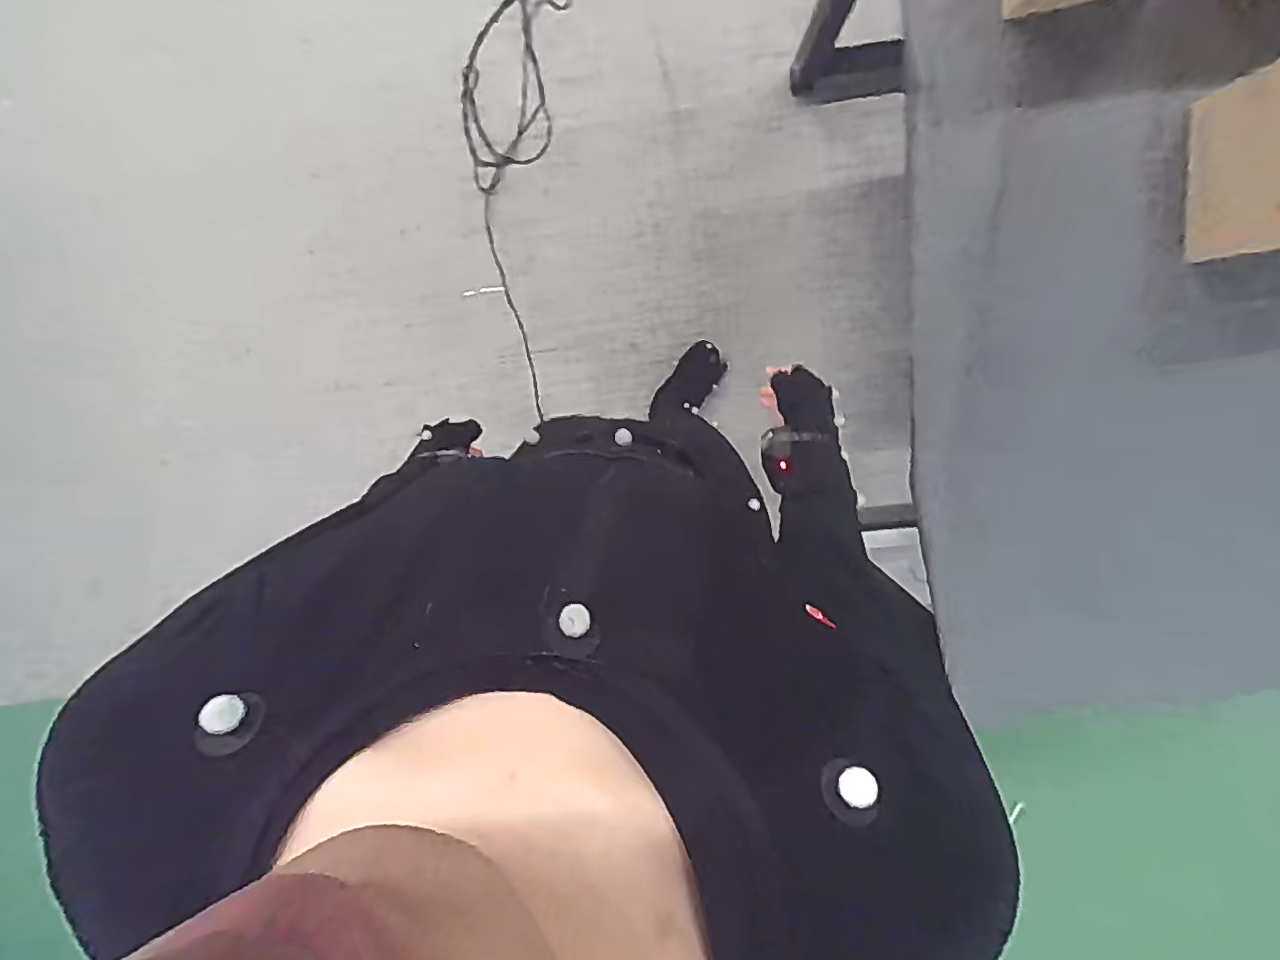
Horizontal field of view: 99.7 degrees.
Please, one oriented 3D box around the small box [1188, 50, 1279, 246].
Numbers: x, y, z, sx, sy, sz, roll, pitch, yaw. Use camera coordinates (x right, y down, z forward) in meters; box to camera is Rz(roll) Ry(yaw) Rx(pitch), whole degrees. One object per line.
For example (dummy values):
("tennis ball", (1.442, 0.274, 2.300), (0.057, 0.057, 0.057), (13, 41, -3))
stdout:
("small box", (0.711, -0.347, 0.541), (0.168, 0.176, 0.179), (-8, 101, 4))
